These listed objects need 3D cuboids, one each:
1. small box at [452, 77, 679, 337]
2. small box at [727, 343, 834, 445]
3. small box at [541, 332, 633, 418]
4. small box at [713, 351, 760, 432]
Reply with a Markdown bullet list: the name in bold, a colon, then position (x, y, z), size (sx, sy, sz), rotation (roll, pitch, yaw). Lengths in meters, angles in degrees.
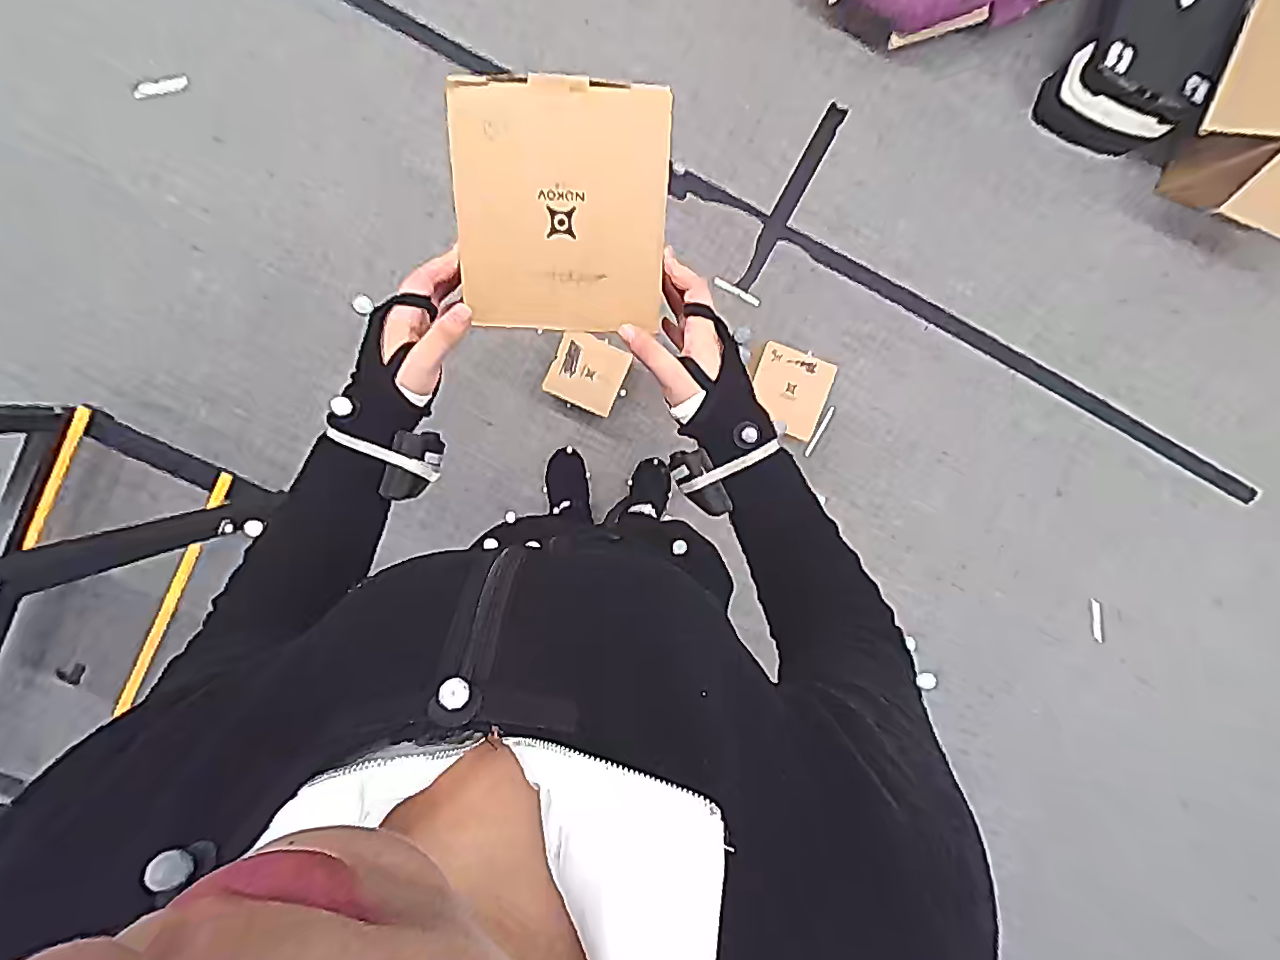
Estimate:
- **small box**: position (-0.056, -0.238, 0.492), size (0.168, 0.176, 0.179), rotation (3, 117, 1)
- **small box**: position (0.310, -0.193, 1.237), size (0.168, 0.176, 0.179), rotation (20, 96, -5)
- **small box**: position (-0.130, -0.263, 1.376), size (0.179, 0.176, 0.168), rotation (24, 95, -5)
- **small box**: position (0.309, -0.219, 1.399), size (0.179, 0.176, 0.168), rotation (21, 95, -5)
